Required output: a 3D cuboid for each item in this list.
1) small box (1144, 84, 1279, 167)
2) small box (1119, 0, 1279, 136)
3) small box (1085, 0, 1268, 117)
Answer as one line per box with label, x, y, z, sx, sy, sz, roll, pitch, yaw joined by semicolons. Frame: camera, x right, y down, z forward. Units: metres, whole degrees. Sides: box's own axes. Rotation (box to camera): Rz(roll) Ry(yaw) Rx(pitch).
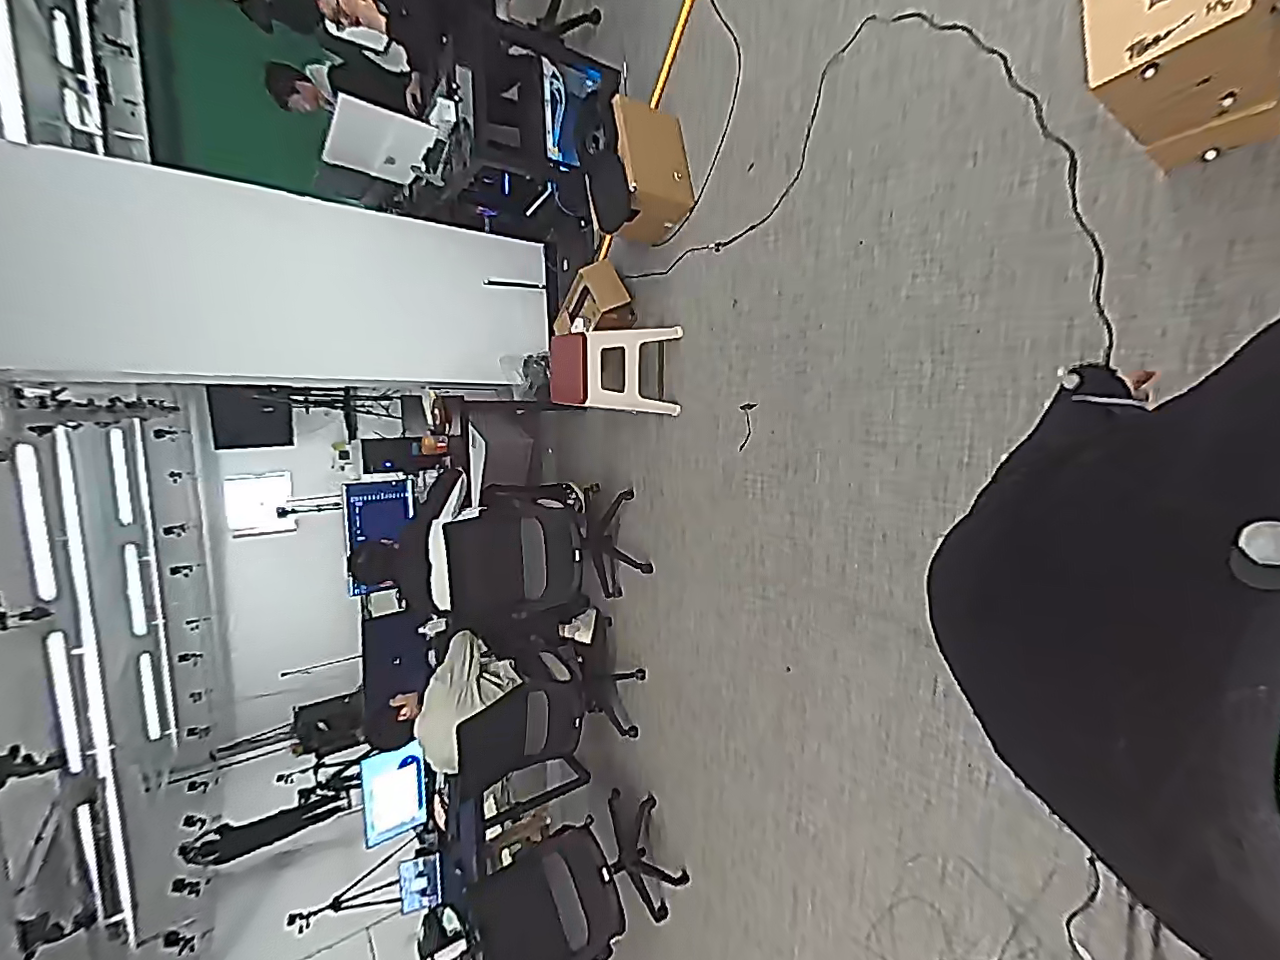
small box;1.044;-0.702;0.974;0.168;0.176;0.179;6;100;54
small box;0.911;-0.696;0.882;0.168;0.176;0.179;0;93;54
small box;0.778;-0.680;0.787;0.168;0.176;0.179;-4;91;55
